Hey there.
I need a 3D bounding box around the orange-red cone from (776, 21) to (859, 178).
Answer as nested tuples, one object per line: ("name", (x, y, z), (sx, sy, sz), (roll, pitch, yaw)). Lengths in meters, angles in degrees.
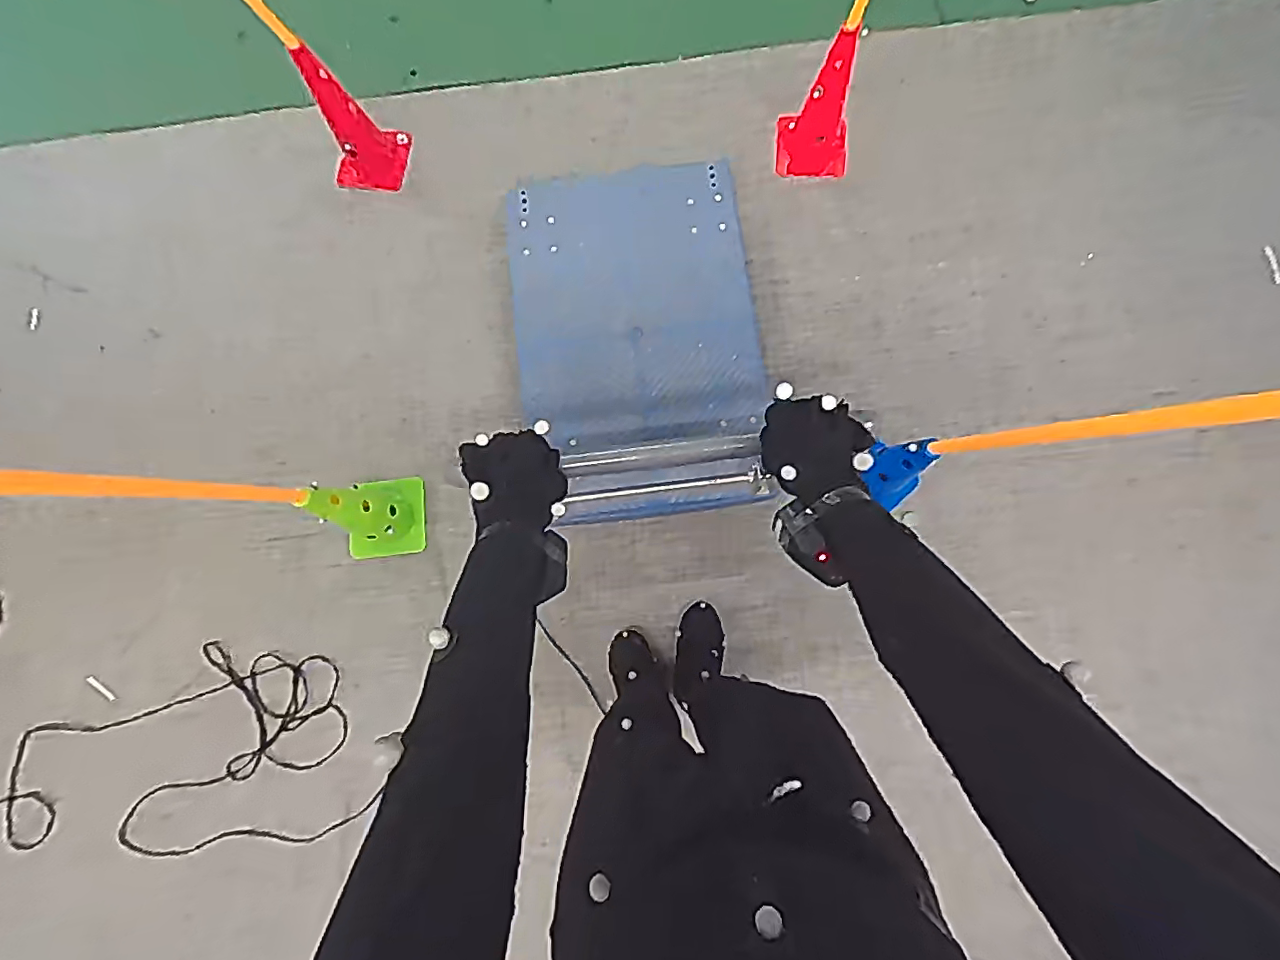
("orange-red cone", (0.489, -0.992, 1.396), (0.198, 0.360, 0.199), (5, 81, 4))
